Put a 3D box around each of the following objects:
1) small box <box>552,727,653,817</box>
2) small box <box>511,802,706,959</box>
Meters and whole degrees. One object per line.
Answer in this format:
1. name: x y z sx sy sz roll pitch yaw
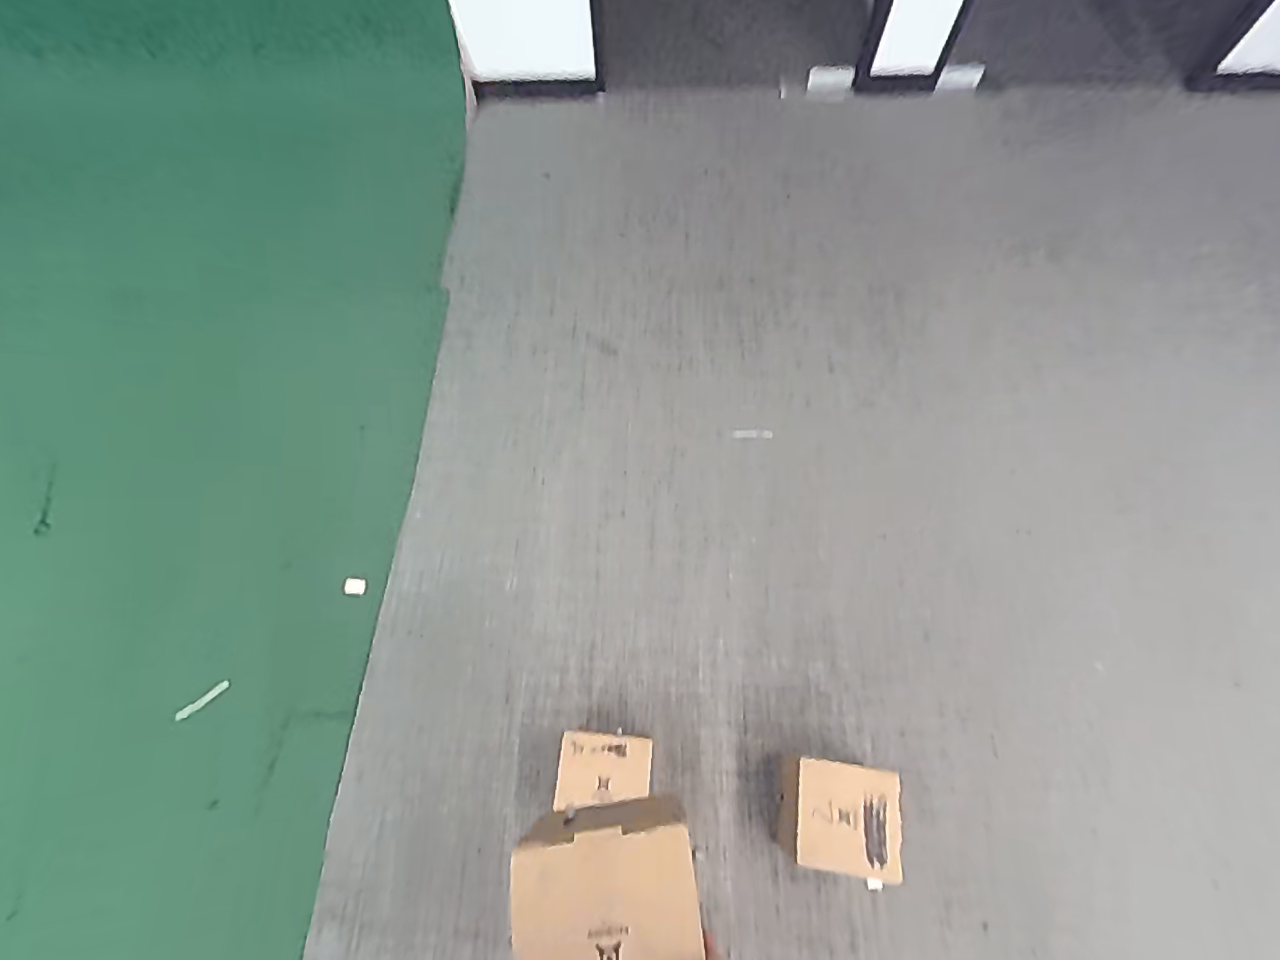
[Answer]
1. small box: -0.064 0.578 1.031 0.168 0.176 0.179 5 67 4
2. small box: -0.026 0.438 0.539 0.168 0.176 0.179 -8 70 -1
